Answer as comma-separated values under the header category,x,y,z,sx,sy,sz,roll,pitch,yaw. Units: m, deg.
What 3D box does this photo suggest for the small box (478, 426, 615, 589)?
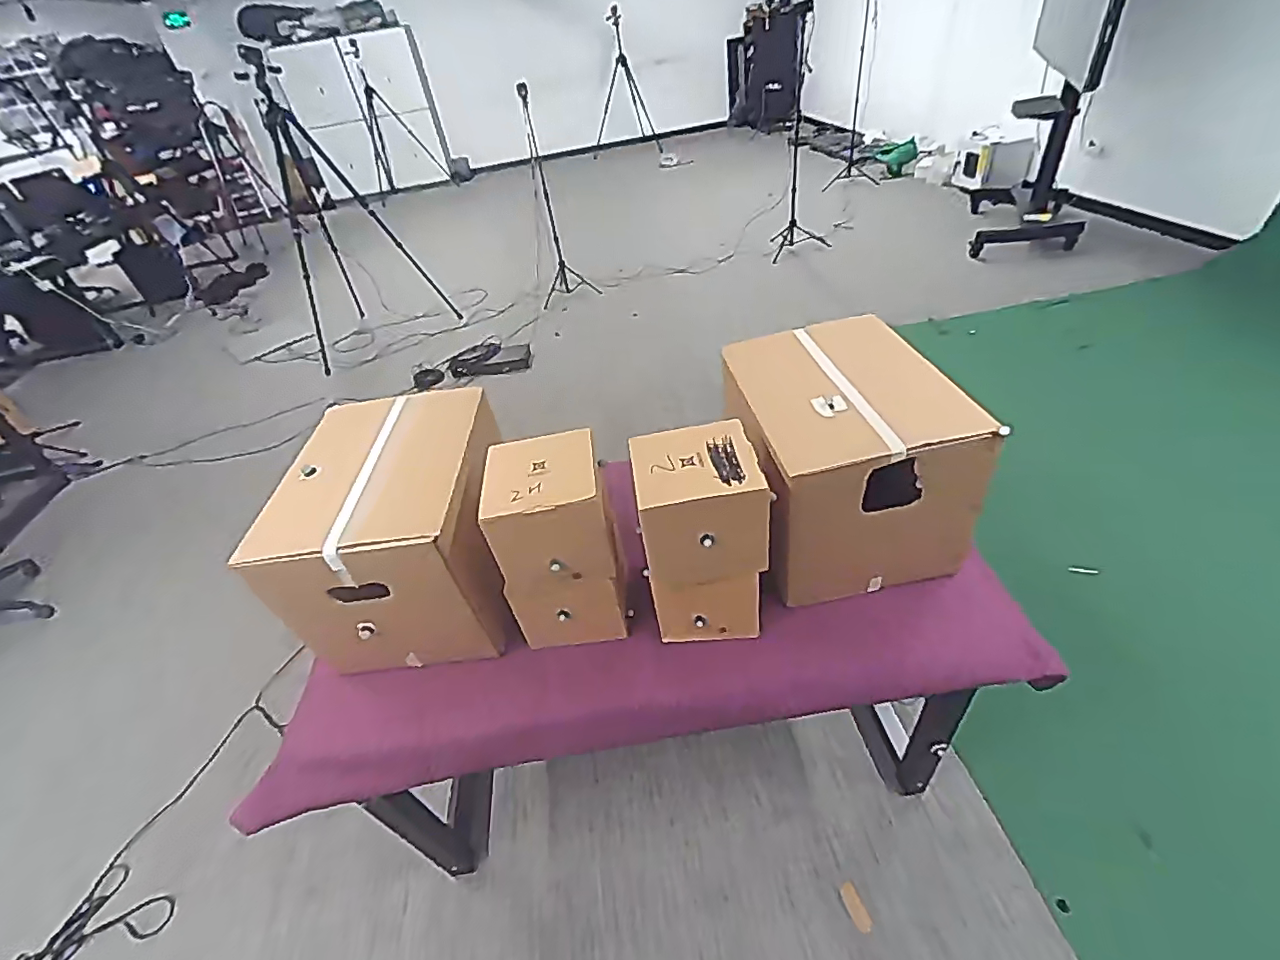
category,x,y,z,sx,sy,sz,roll,pitch,yaw
small box,-0.137,0.043,0.846,0.168,0.176,0.179,-11,40,0

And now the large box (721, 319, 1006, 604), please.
category,x,y,z,sx,sy,sz,roll,pitch,yaw
large box,0.356,-0.046,0.996,0.320,0.320,0.408,-13,41,1
